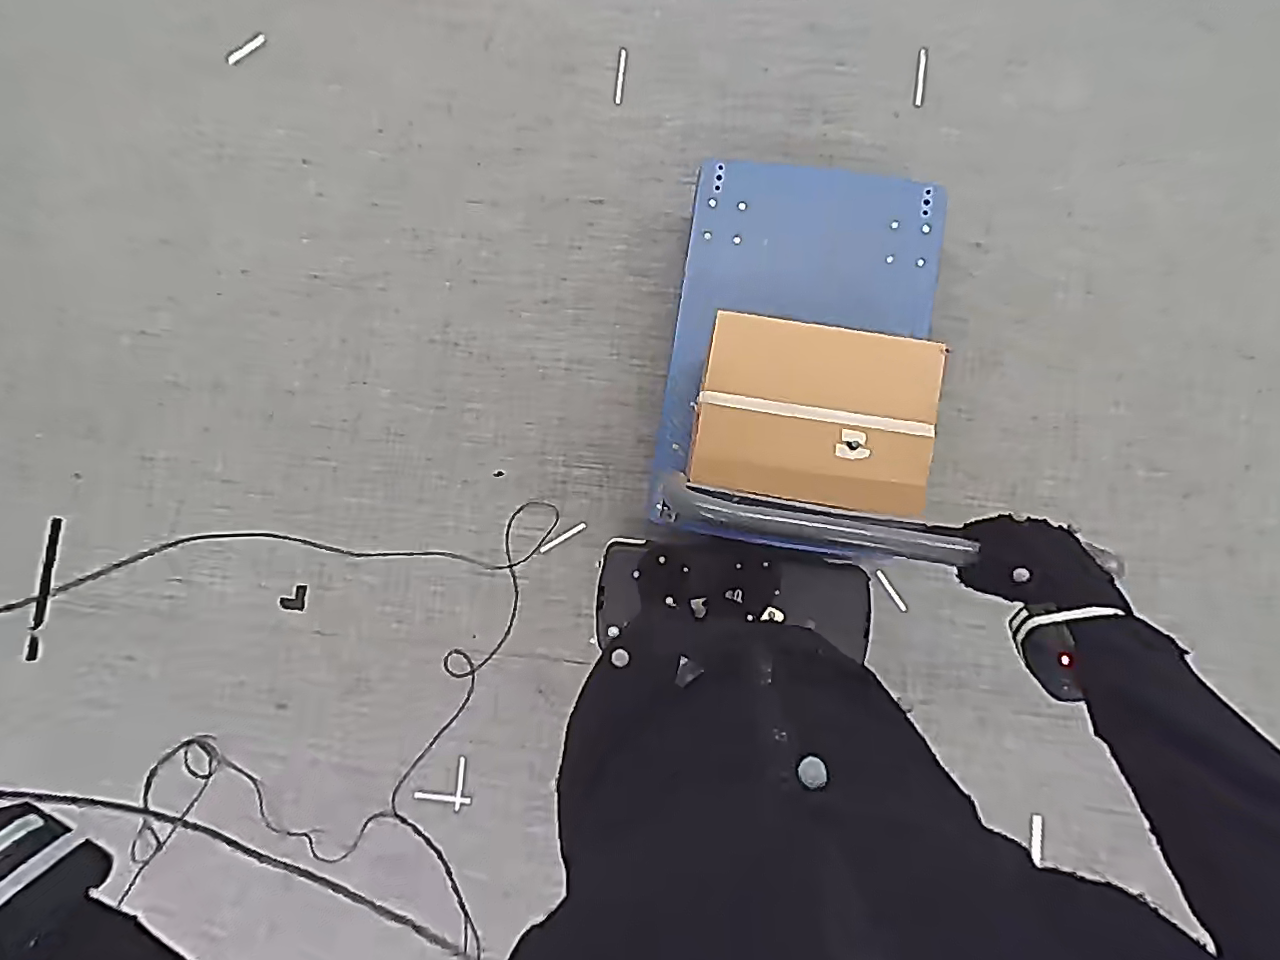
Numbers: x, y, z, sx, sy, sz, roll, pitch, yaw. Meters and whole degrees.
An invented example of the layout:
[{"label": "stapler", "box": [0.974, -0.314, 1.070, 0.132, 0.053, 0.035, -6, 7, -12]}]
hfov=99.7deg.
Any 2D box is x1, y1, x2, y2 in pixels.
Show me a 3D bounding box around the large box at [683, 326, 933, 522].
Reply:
[{"label": "large box", "box": [0.311, -0.096, 1.115, 0.408, 0.320, 0.320, 9, 88, 2]}]
